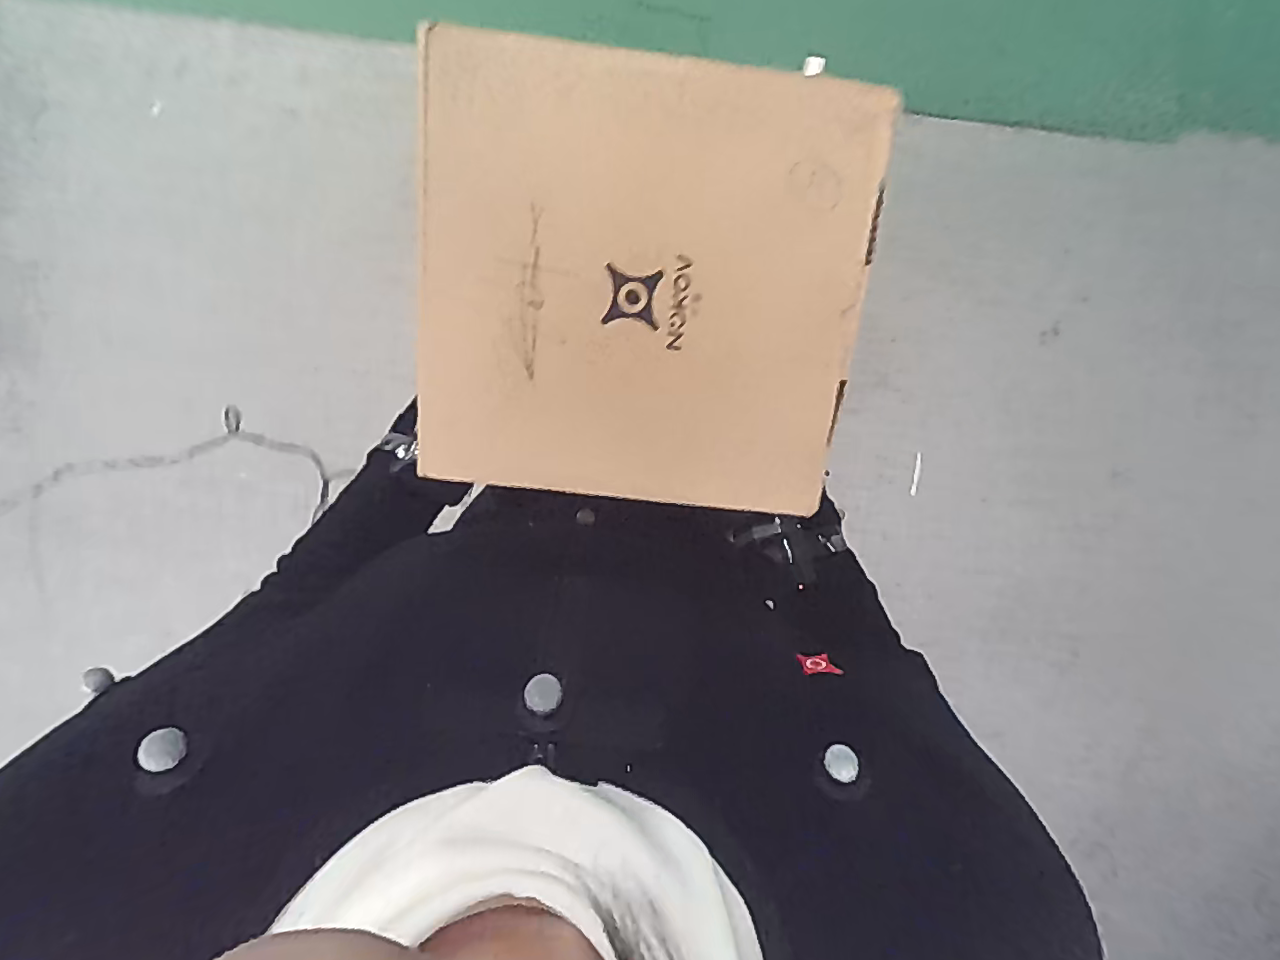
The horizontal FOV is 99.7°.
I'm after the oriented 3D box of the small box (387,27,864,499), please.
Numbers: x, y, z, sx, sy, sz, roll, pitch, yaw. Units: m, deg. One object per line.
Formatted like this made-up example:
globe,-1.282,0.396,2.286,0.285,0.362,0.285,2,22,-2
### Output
small box,-0.010,-0.096,0.292,0.179,0.176,0.168,4,104,-1
